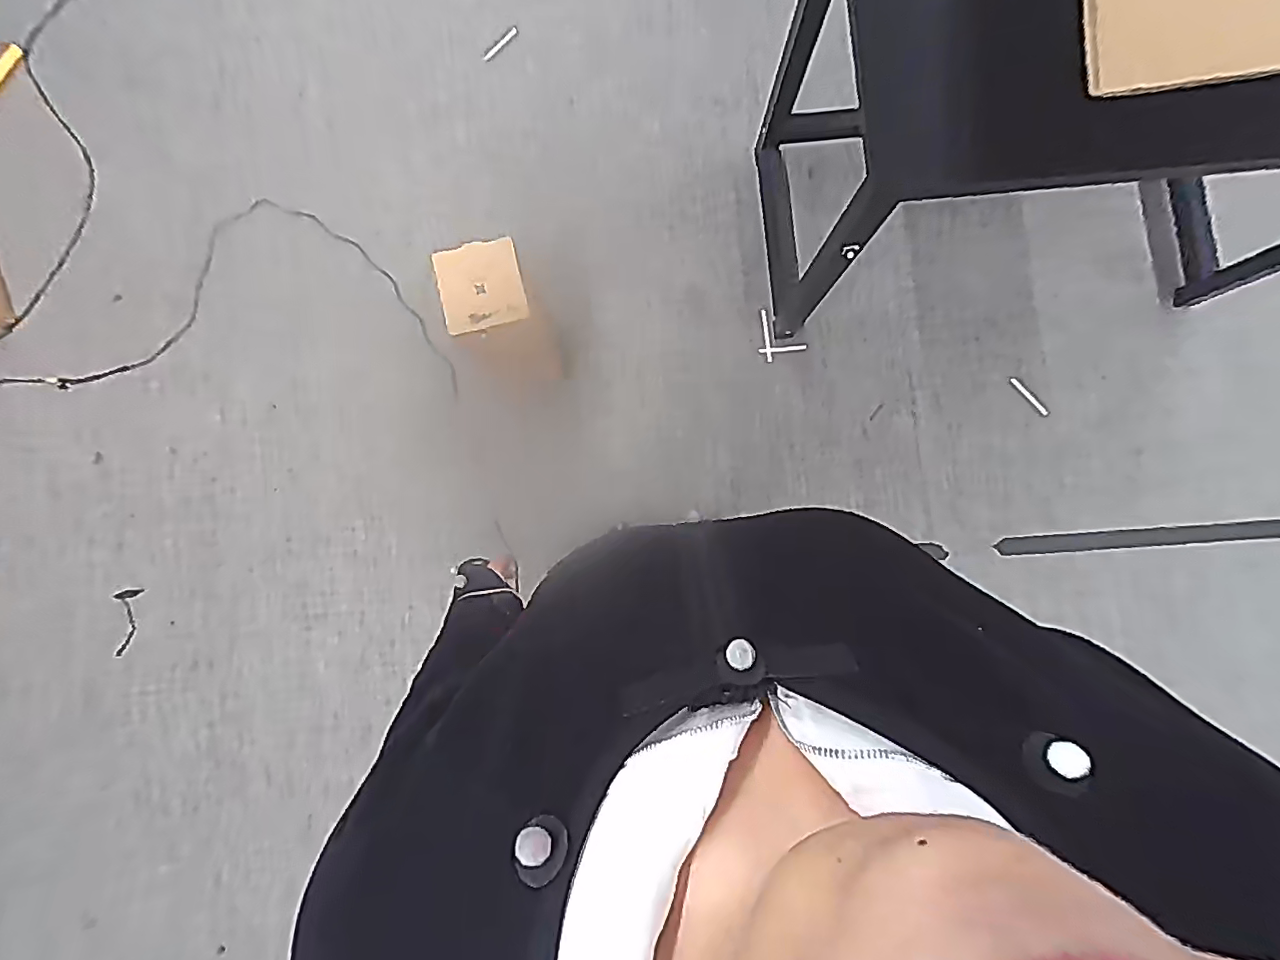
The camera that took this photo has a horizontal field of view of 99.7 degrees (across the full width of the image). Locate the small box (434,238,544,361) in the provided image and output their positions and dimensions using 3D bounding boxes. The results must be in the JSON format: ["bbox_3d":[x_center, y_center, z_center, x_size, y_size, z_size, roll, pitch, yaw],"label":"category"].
[{"bbox_3d":[-0.313,-0.376,1.150,0.168,0.176,0.179,-14,85,0],"label":"small box"}]
